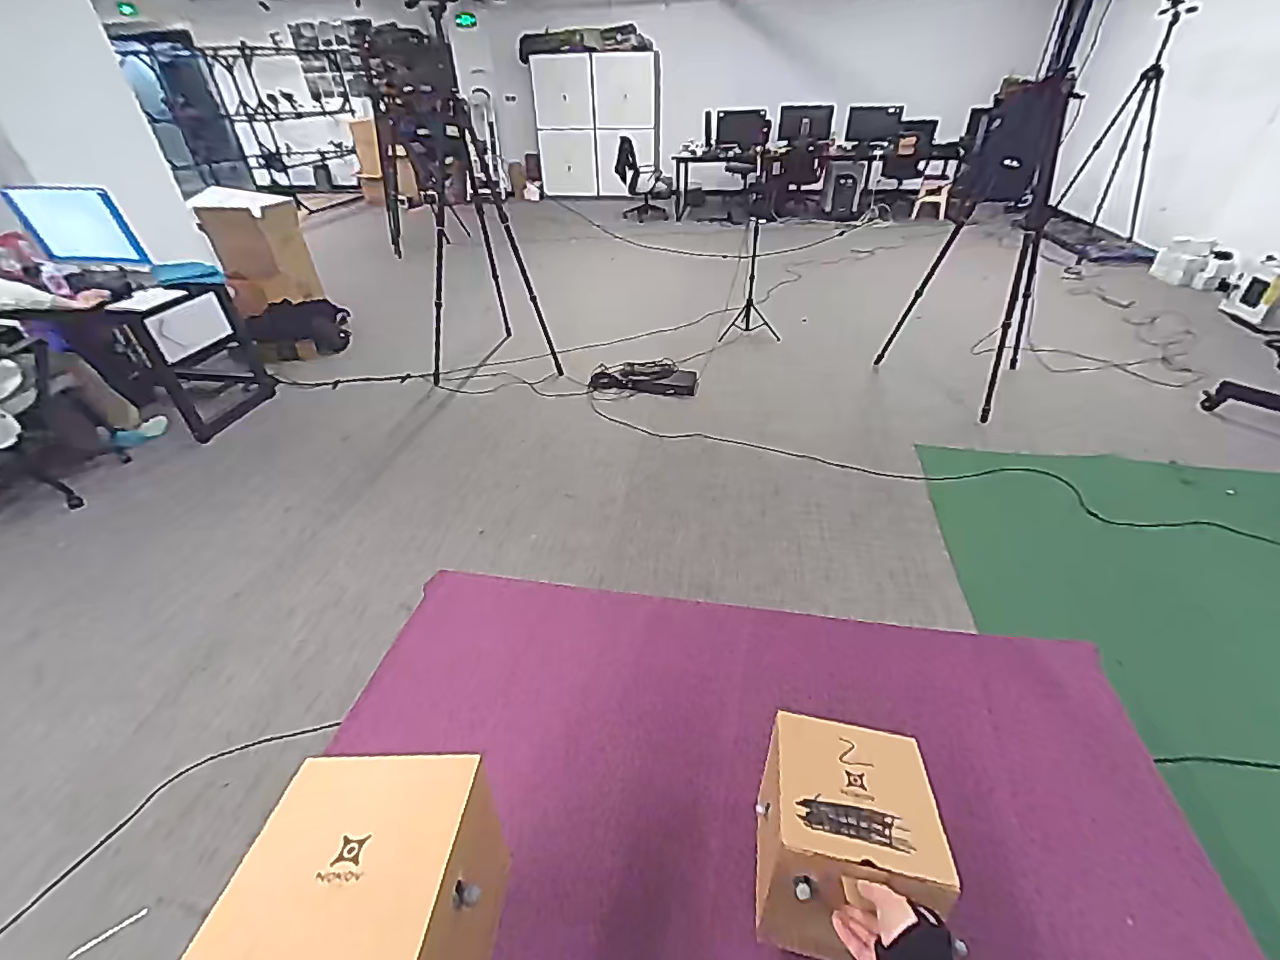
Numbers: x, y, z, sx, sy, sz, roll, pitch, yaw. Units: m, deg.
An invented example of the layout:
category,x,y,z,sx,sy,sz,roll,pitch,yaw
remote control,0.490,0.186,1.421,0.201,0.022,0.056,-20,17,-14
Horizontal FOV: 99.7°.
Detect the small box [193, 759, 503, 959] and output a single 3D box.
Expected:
category,x,y,z,sx,sy,sz,roll,pitch,yaw
small box,-0.225,0.375,0.469,0.168,0.176,0.179,-2,27,2
